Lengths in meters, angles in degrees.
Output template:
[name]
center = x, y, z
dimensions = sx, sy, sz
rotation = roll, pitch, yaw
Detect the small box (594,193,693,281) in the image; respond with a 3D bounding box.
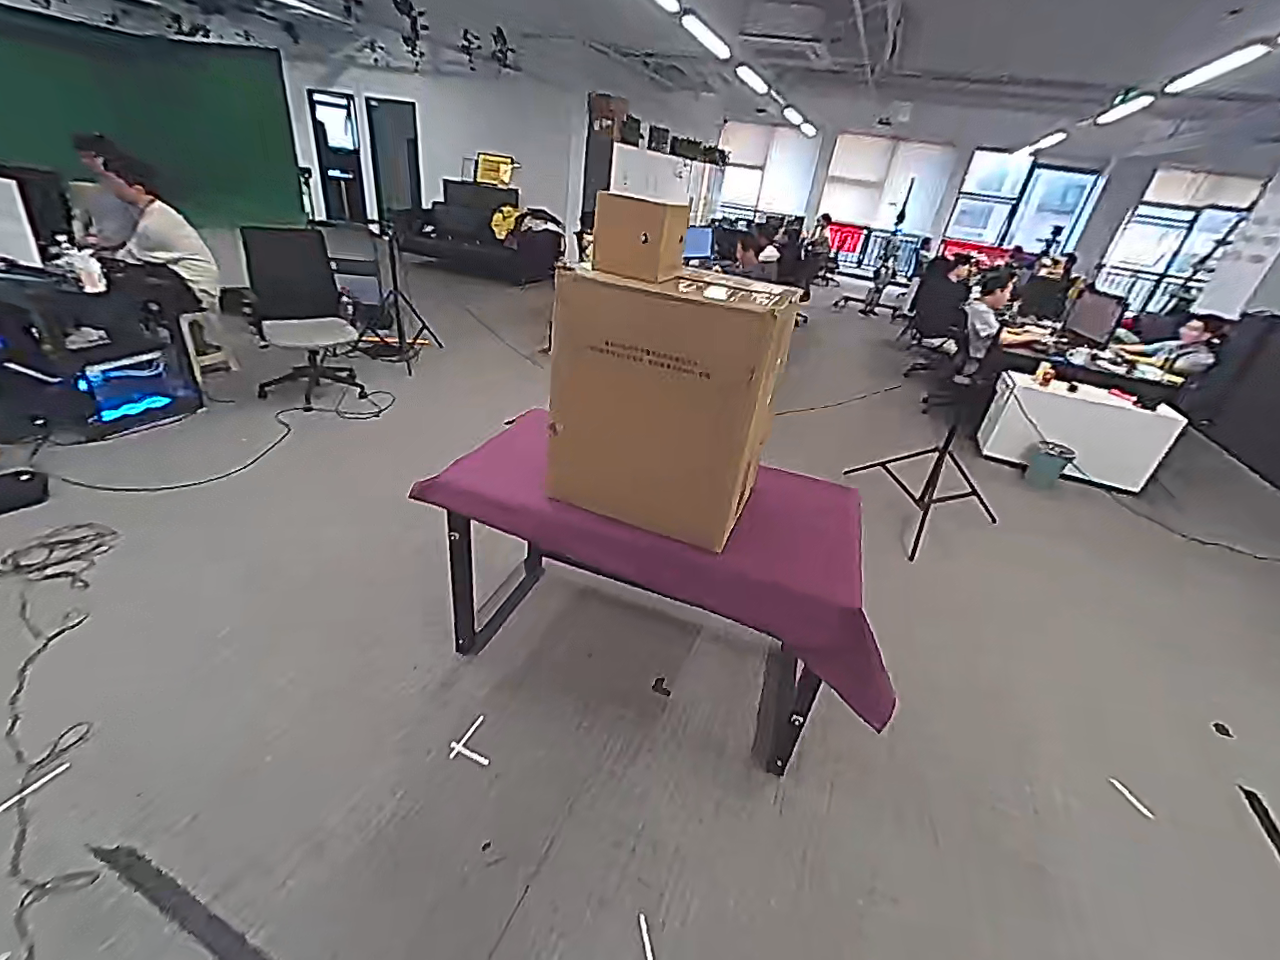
[small box]
center = 0.006, -0.577, 1.289
dimensions = 0.179, 0.176, 0.168
rotation = 18, 30, 17
